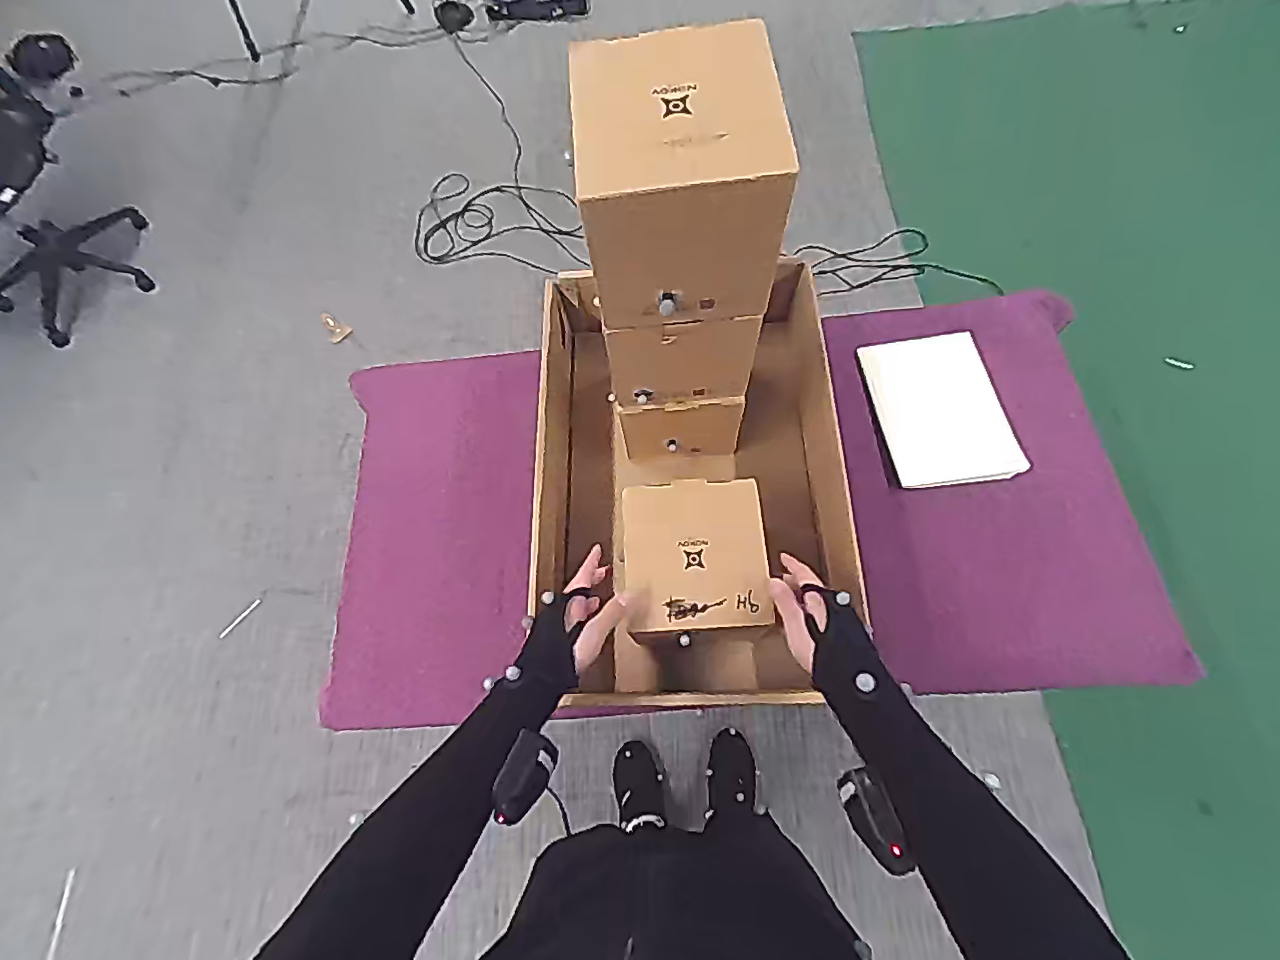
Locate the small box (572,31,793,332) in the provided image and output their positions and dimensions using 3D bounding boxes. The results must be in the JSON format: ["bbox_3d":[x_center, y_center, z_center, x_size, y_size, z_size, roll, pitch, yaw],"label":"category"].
[{"bbox_3d":[0.032,-0.264,0.504,0.168,0.176,0.179,-5,70,2],"label":"small box"}]

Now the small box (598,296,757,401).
[{"bbox_3d":[0.041,-0.207,0.656,0.168,0.176,0.179,-5,69,2],"label":"small box"}]

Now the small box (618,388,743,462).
[{"bbox_3d":[0.053,-0.142,0.806,0.168,0.176,0.179,-5,70,2],"label":"small box"}]
